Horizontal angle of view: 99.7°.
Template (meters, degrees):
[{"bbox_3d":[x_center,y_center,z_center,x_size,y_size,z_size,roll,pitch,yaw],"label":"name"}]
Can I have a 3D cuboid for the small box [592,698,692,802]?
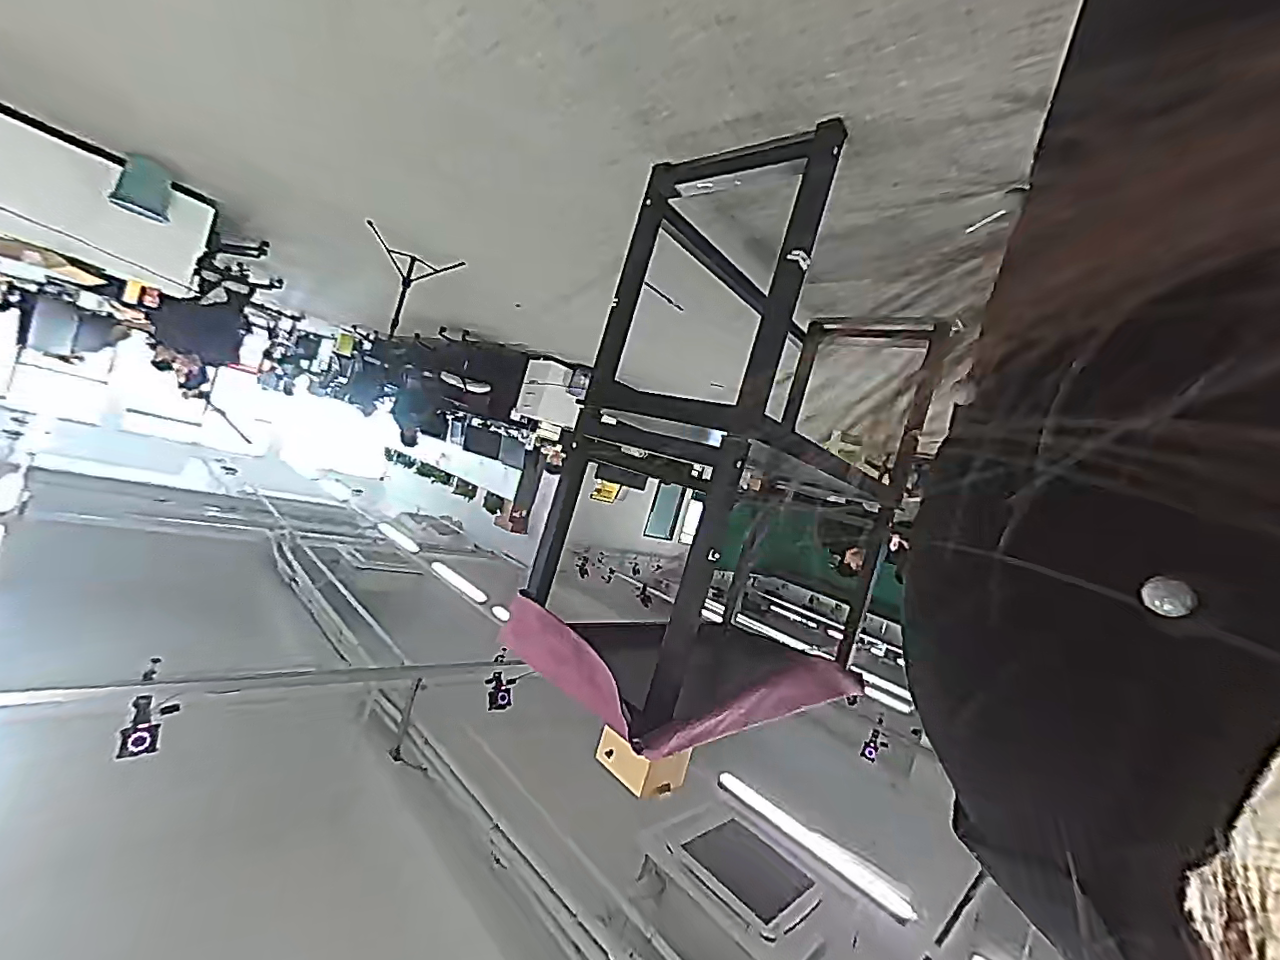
[{"bbox_3d":[0.009,0.686,1.401,0.168,0.176,0.179,15,-178,-45],"label":"small box"}]
